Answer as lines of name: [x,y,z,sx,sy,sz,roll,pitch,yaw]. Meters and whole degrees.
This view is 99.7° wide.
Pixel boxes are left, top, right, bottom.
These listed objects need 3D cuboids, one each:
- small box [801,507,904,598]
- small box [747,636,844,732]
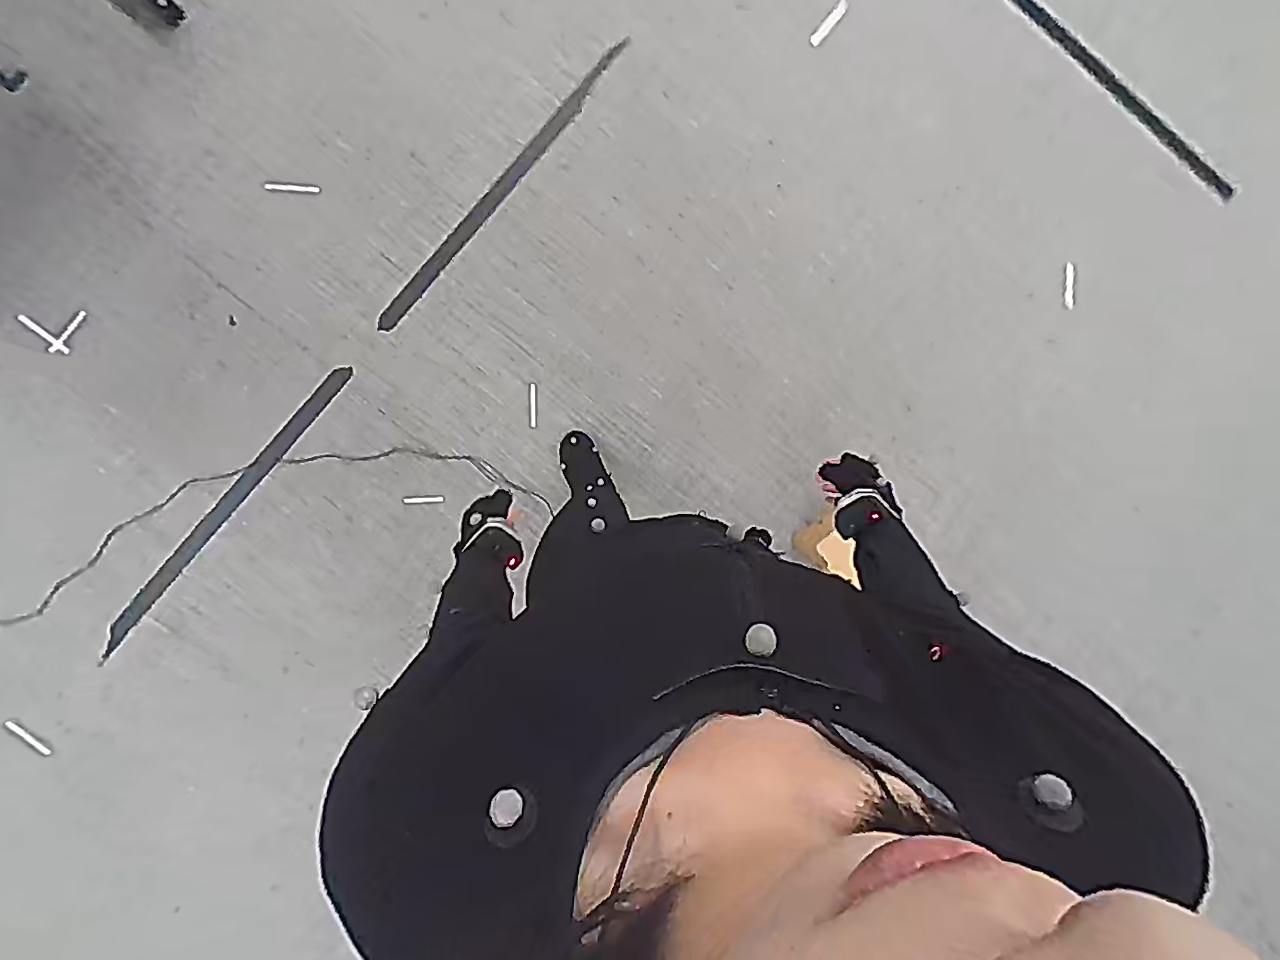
small box: [0.560,0.189,1.463,0.179,0.176,0.168,-38,92,-2]
small box: [0.411,0.540,1.457,0.179,0.176,0.168,20,89,-2]
